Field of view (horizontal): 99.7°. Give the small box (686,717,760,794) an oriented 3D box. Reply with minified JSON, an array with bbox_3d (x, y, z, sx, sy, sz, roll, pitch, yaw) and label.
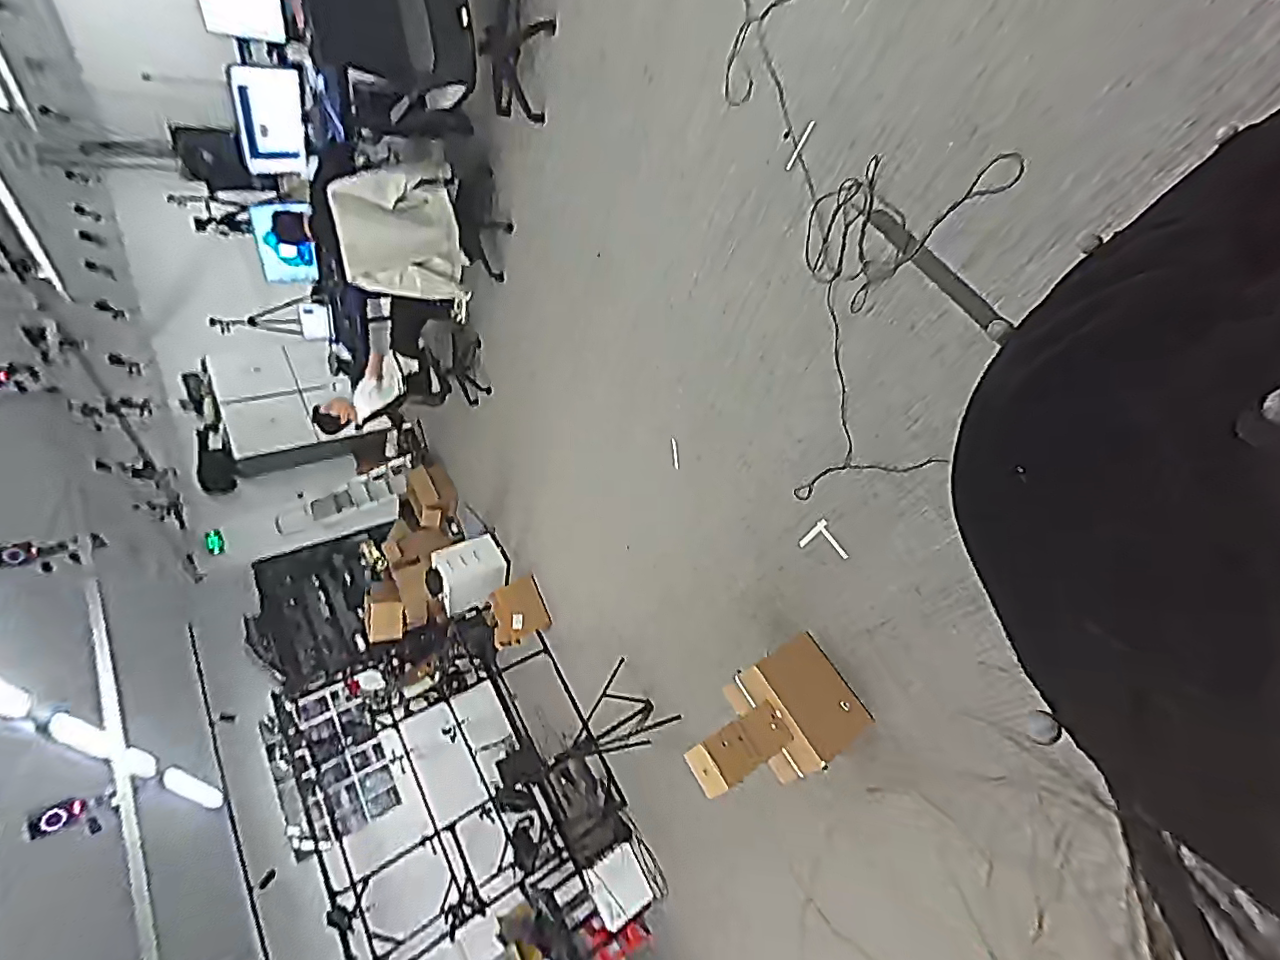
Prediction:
[{"bbox_3d":[0.296,0.966,1.905,0.168,0.176,0.179,55,145,25],"label":"small box"}]

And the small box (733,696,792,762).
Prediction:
[{"bbox_3d":[0.426,0.930,1.996,0.168,0.176,0.179,55,143,23],"label":"small box"}]
